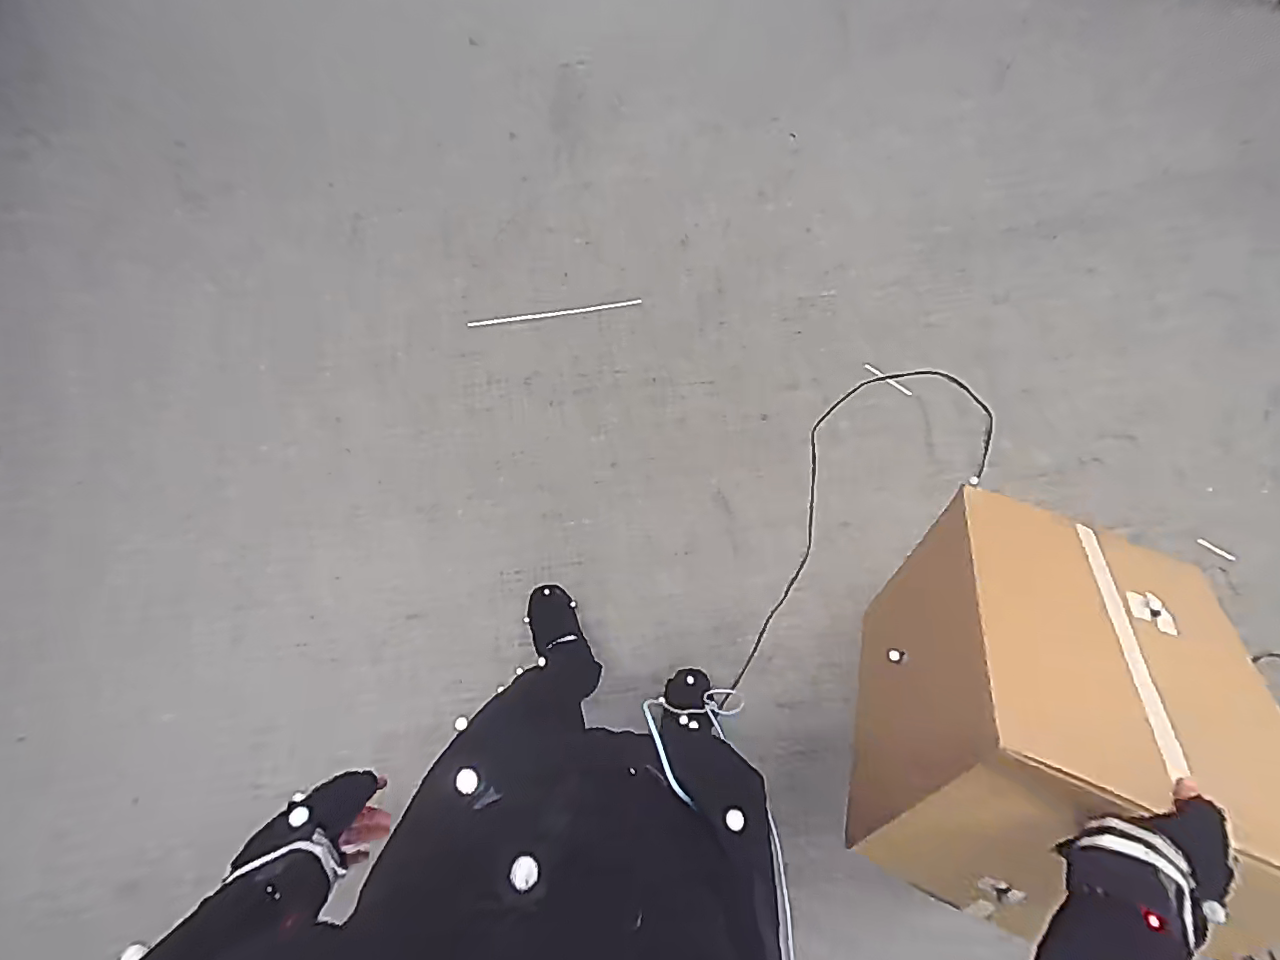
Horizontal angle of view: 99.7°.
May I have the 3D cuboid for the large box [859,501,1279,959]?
[{"bbox_3d":[0.498,0.304,0.690,0.320,0.320,0.408,22,40,9],"label":"large box"}]
